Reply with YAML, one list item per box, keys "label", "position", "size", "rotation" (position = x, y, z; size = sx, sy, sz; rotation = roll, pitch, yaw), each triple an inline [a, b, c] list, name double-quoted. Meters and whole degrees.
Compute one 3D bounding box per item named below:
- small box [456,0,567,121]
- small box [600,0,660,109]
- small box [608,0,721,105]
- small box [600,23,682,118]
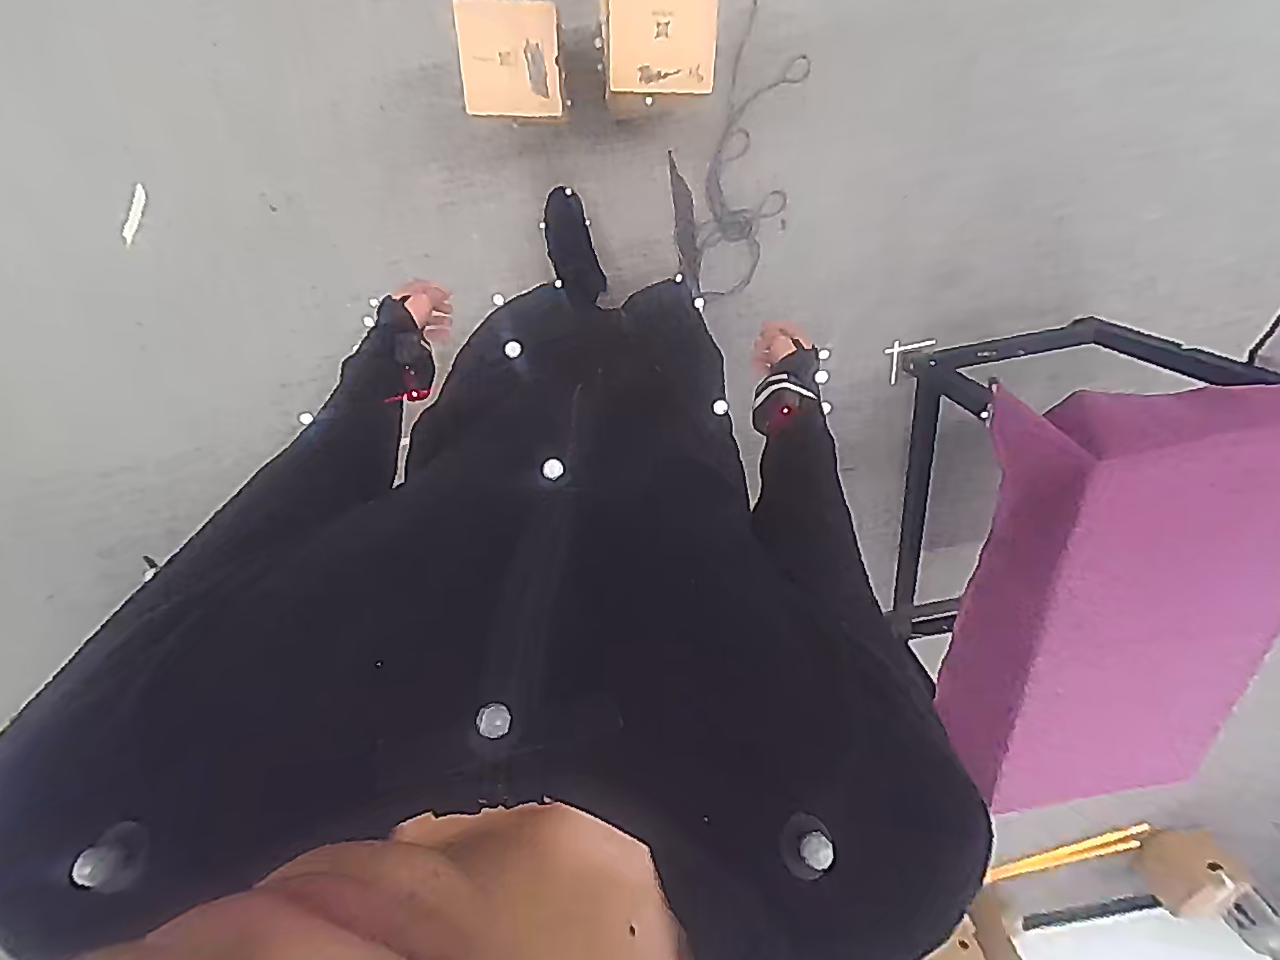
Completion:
- label: "small box"
  position: [-0.228, -0.778, 1.010]
  size: [0.179, 0.176, 0.168]
  rotation: [-1, 120, -4]
- label: "small box"
  position: [0.021, -0.814, 1.019]
  size: [0.179, 0.176, 0.168]
  rotation: [-8, 120, -1]
- label: "small box"
  position: [0.033, -0.730, 0.878]
  size: [0.168, 0.176, 0.179]
  rotation: [-1, 119, -4]
- label: "small box"
  position: [0.008, -0.896, 1.158]
  size: [0.168, 0.176, 0.179]
  rotation: [-9, 121, 0]
